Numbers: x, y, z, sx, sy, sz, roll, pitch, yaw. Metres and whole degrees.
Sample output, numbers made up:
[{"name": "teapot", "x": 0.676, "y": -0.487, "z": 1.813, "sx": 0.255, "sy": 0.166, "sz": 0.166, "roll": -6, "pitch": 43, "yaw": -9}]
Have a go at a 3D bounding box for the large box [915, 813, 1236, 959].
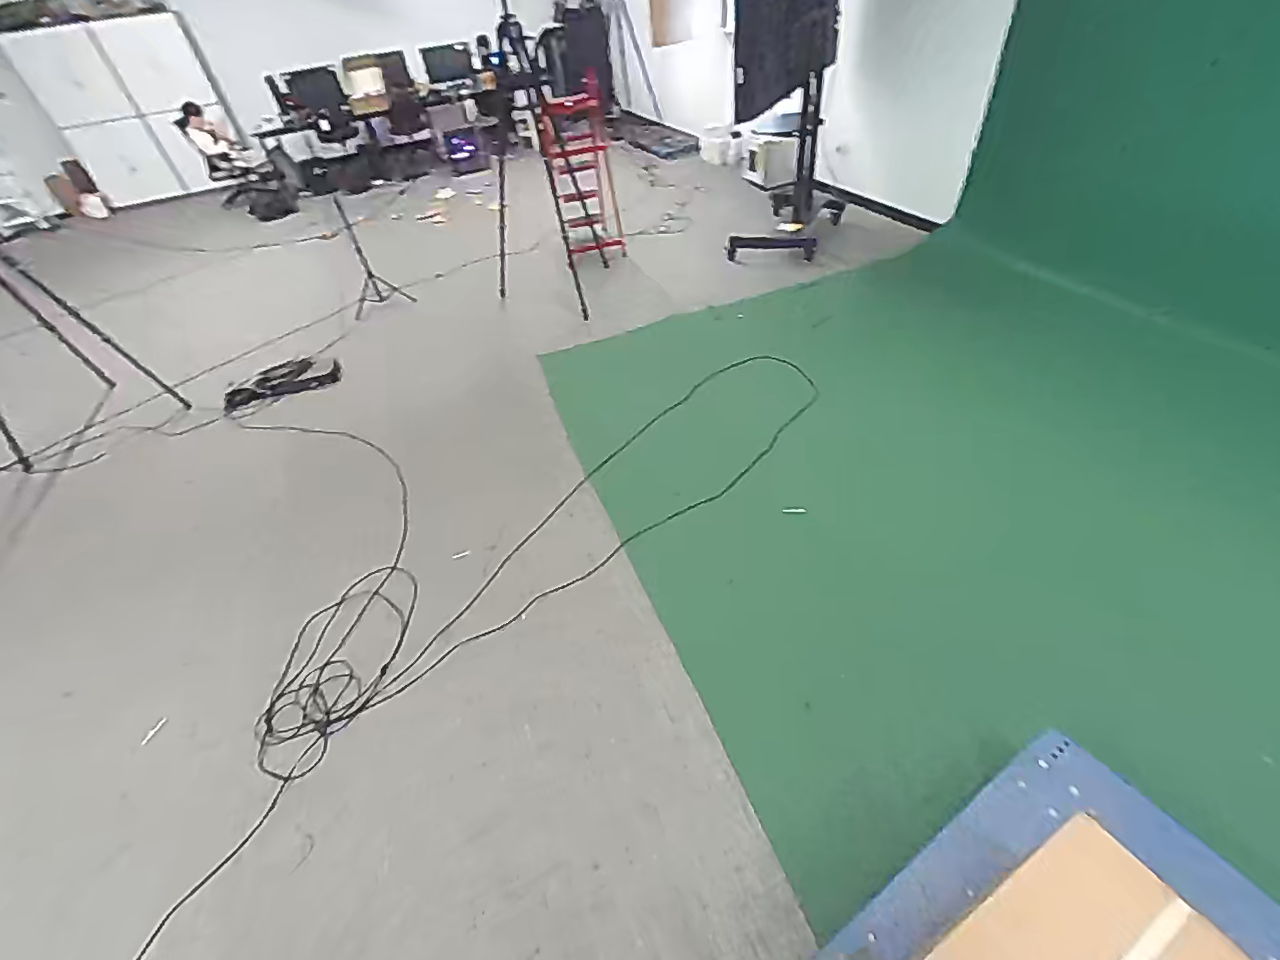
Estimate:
[{"name": "large box", "x": 0.697, "y": 0.866, "z": 0.897, "sx": 0.408, "sy": 0.320, "sz": 0.320, "roll": -24, "pitch": 45, "yaw": -18}]
